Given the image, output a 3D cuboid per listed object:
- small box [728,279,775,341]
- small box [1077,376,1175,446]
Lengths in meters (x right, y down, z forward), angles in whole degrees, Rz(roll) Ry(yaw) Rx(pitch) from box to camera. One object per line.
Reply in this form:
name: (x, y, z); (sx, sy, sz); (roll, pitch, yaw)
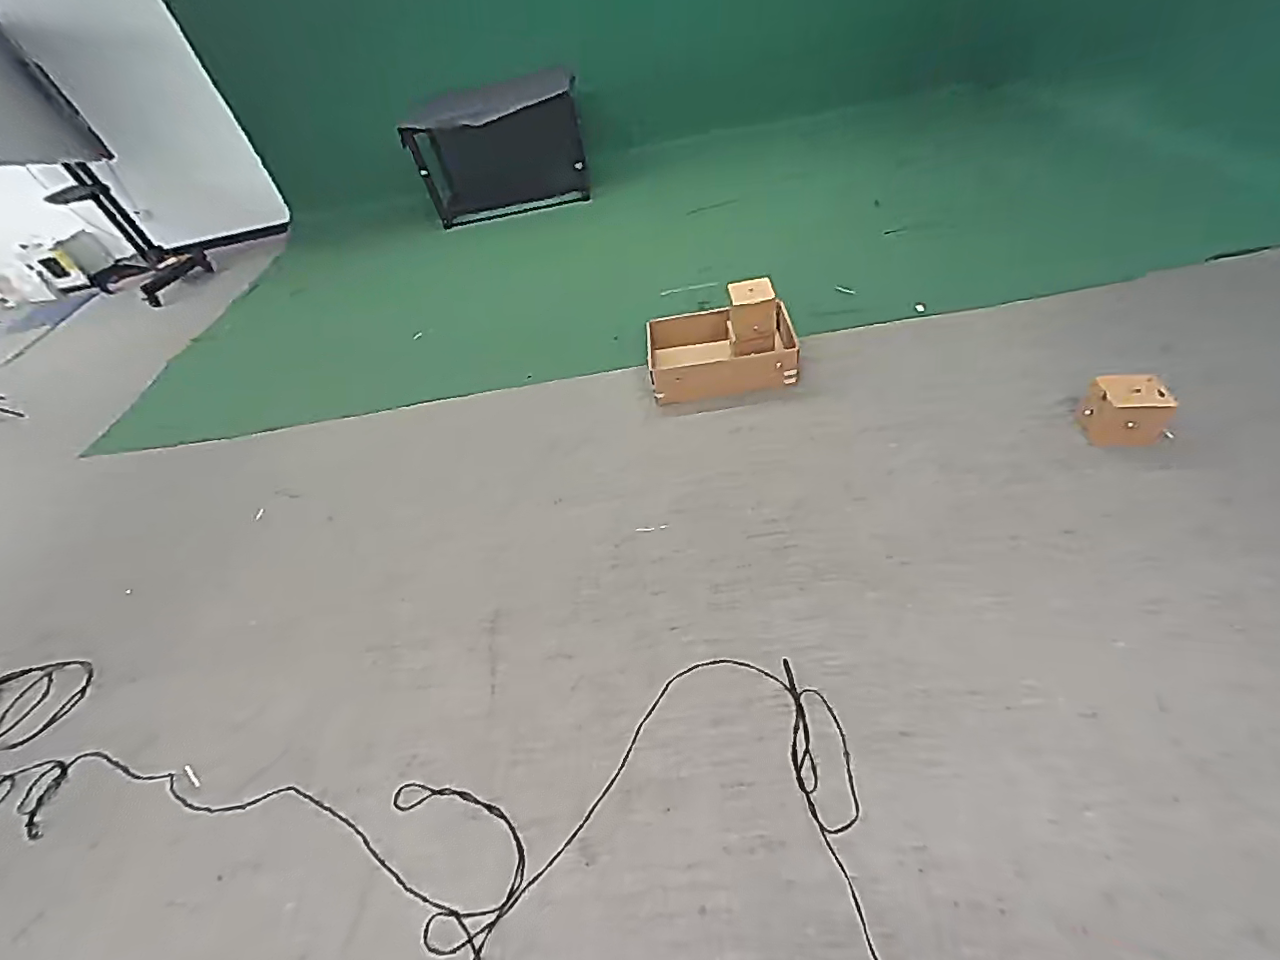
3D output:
small box: (0.454, -0.692, 2.206); (0.168, 0.176, 0.179); (-9, 47, 7)
small box: (1.599, -0.226, 1.798); (0.179, 0.176, 0.168); (0, 47, 14)
